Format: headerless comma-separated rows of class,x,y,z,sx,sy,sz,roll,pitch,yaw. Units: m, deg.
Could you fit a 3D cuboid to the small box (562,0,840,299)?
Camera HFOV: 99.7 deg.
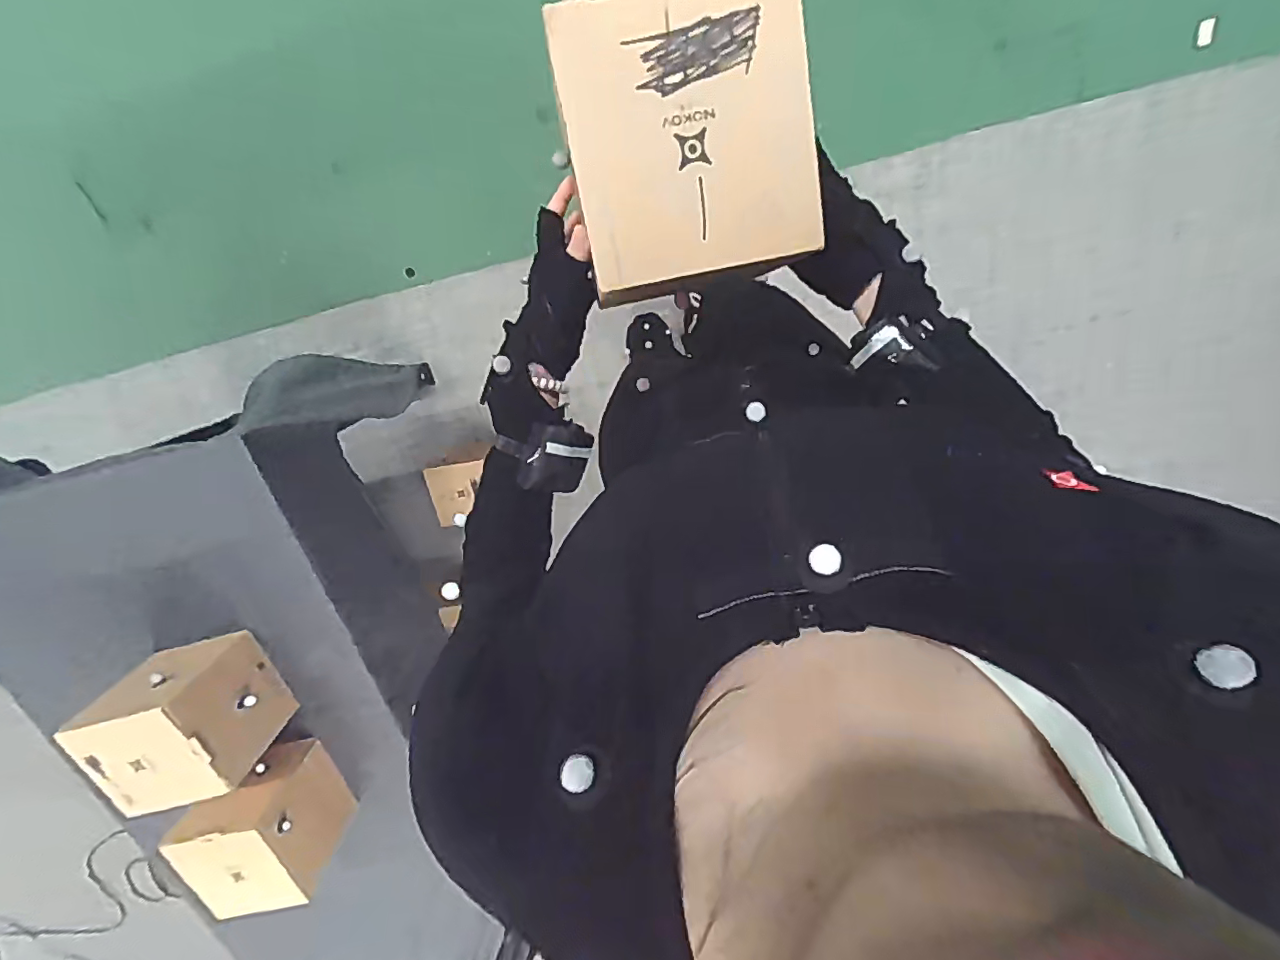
small box,0.037,-0.253,0.426,0.168,0.176,0.179,-11,104,-2

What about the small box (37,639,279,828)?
small box,-0.673,0.359,0.789,0.179,0.176,0.168,-16,110,5
